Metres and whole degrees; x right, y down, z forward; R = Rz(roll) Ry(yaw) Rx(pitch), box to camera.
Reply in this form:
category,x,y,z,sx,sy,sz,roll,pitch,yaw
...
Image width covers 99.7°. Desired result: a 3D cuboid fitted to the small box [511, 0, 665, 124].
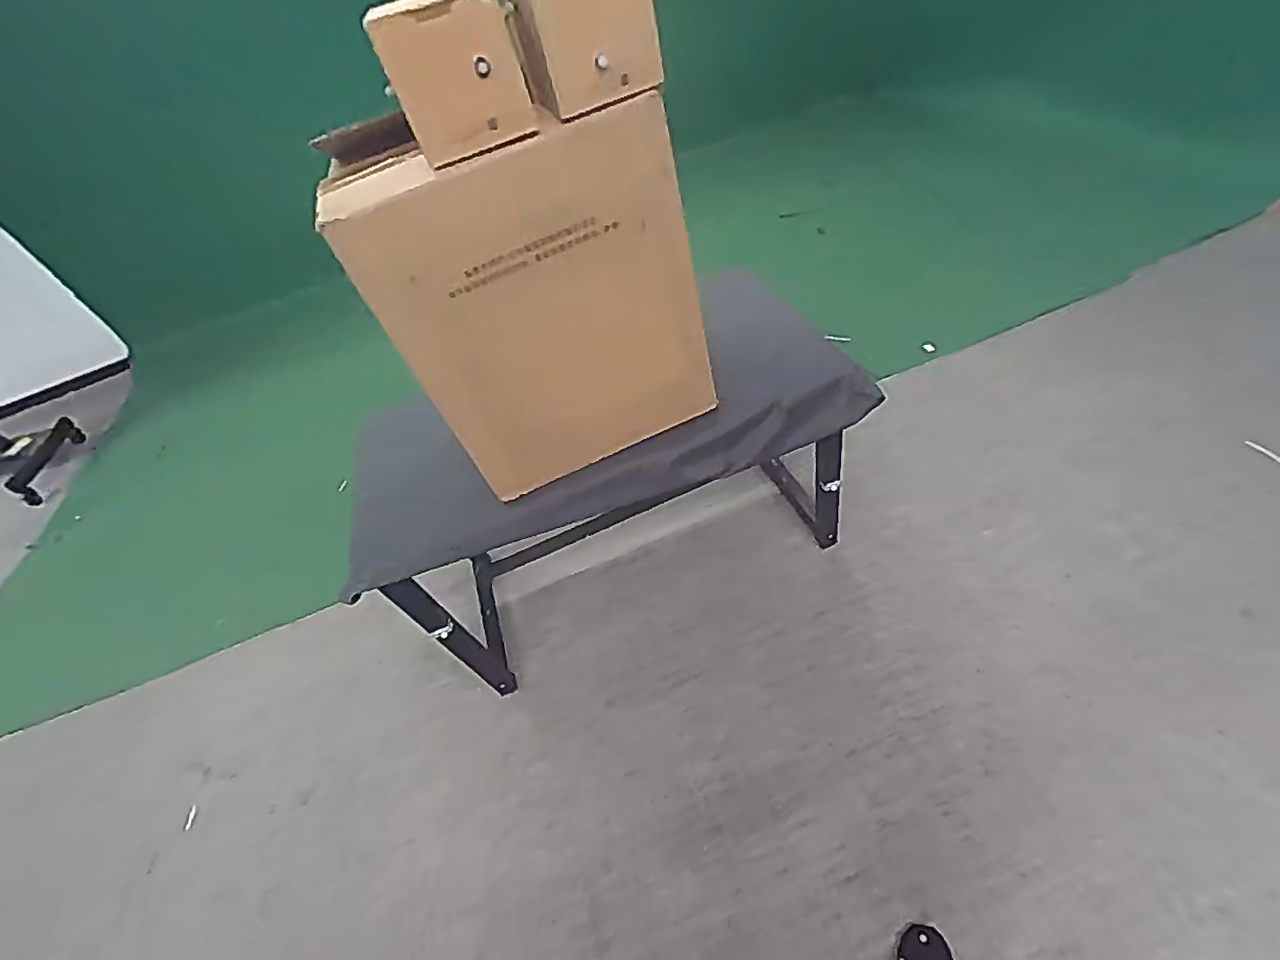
category,x,y,z,sx,sy,sz,roll,pitch,yaw
small box,-0.079,-0.646,0.786,0.168,0.176,0.179,-24,48,-6
